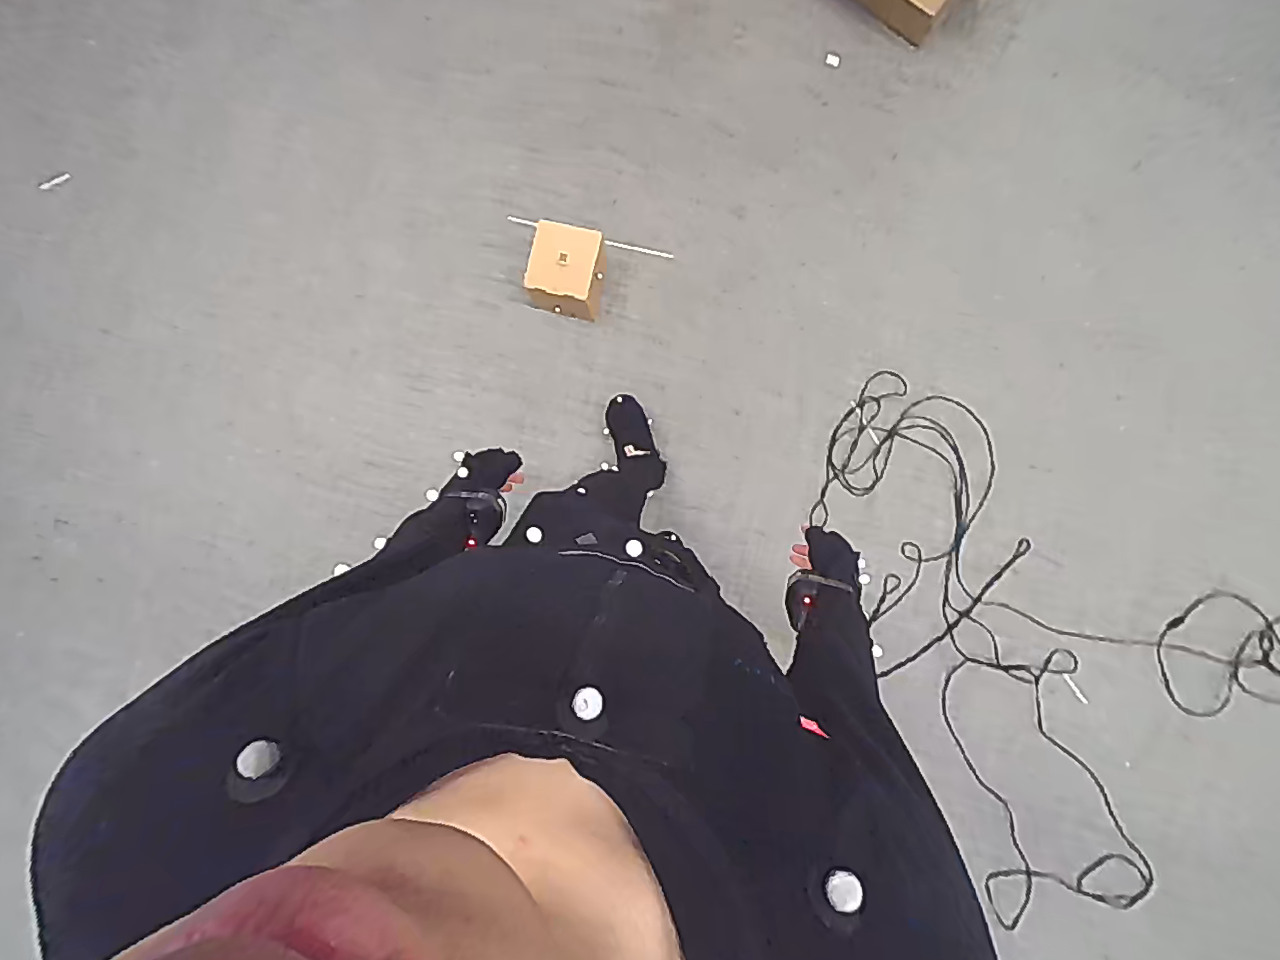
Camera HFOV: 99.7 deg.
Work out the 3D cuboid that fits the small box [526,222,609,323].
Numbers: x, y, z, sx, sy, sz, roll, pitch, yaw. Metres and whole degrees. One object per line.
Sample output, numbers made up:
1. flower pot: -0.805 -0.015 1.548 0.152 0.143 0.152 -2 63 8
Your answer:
1. small box: -0.181 -0.535 1.414 0.168 0.176 0.179 13 90 3
